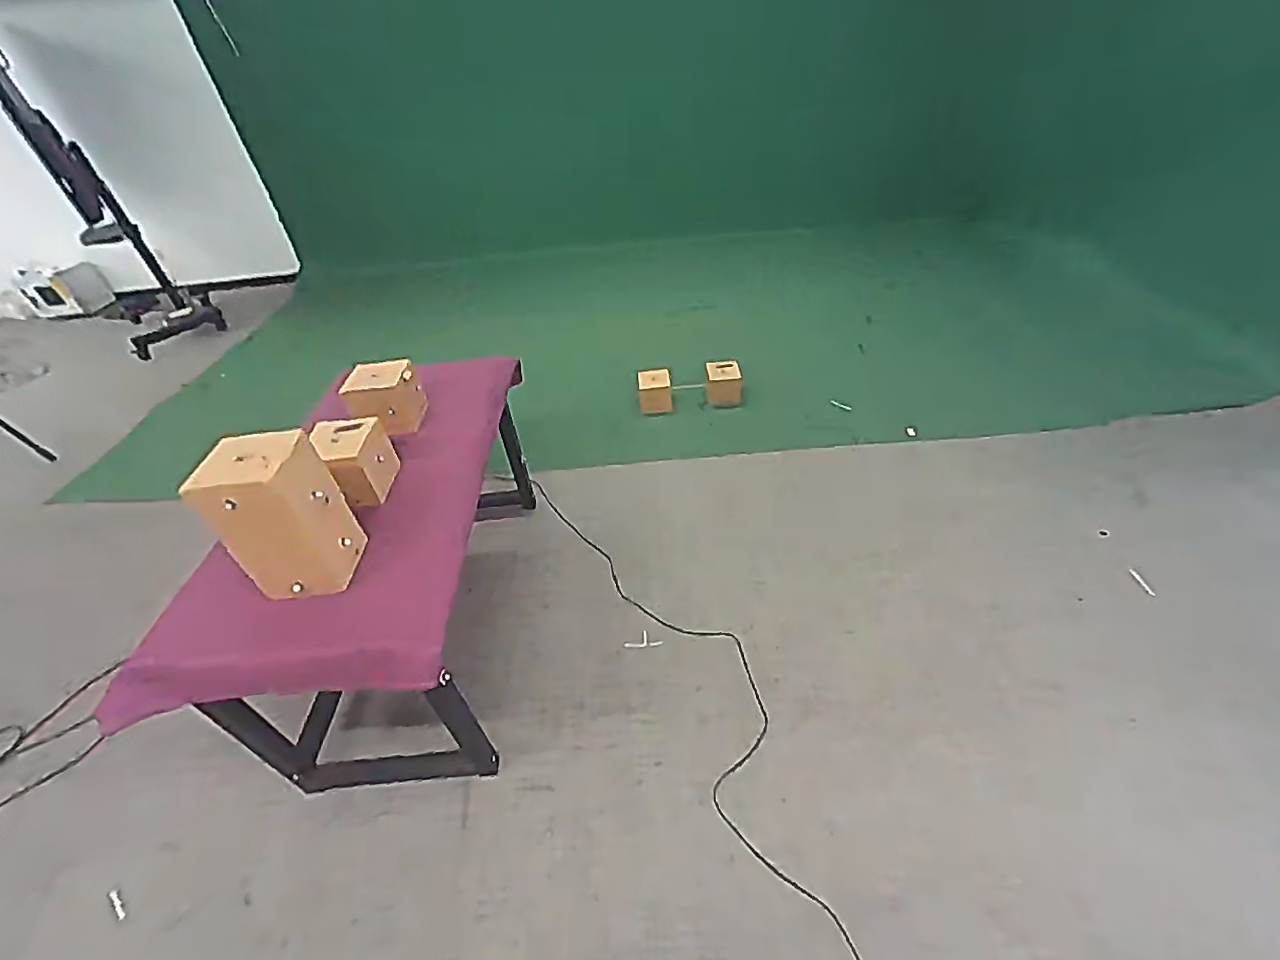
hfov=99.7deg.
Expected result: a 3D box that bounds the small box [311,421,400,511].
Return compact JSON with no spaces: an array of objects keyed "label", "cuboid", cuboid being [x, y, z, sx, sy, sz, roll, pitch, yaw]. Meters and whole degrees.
[{"label":"small box","cuboid":[-0.766,-0.036,1.443,0.168,0.176,0.179,-6,41,1]}]

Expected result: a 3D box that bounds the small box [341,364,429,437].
[{"label":"small box","cuboid":[-0.783,-0.243,1.687,0.179,0.176,0.168,-6,40,2]}]

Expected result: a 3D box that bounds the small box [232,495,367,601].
[{"label":"small box","cuboid":[-0.753,0.153,1.222,0.179,0.176,0.168,-6,40,0]}]

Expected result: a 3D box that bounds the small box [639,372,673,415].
[{"label":"small box","cuboid":[0.089,-0.466,2.934,0.168,0.176,0.179,-6,40,2]}]

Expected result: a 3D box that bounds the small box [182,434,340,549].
[{"label":"small box","cuboid":[-0.766,0.027,1.117,0.179,0.176,0.168,-6,41,0]}]
